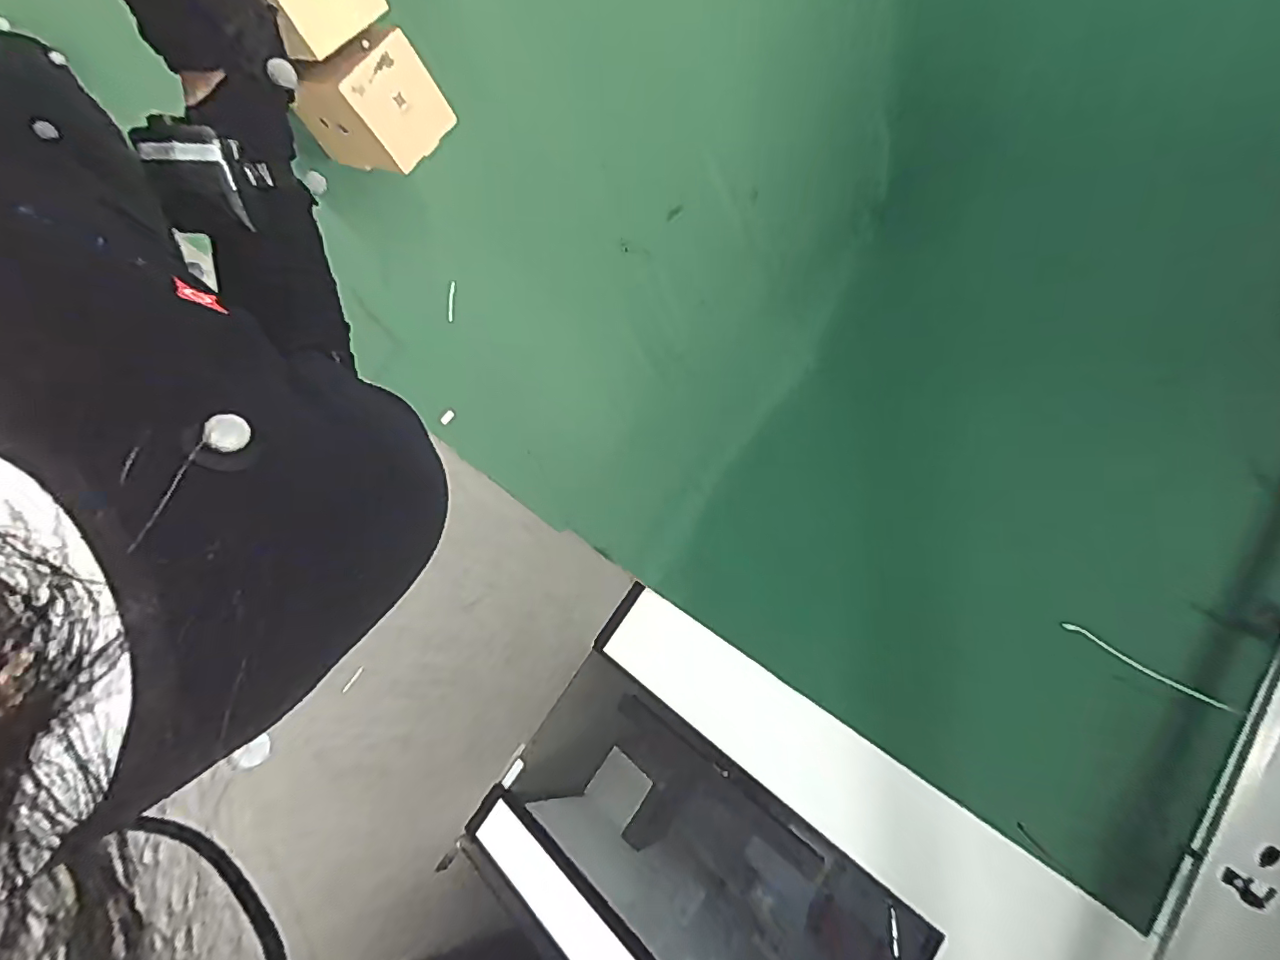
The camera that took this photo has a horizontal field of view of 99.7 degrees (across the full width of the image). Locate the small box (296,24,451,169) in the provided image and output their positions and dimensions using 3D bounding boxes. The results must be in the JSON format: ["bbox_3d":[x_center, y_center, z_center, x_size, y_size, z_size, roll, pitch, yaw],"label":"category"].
[{"bbox_3d":[-0.520,-0.756,1.063,0.168,0.176,0.179,-53,150,-11],"label":"small box"}]

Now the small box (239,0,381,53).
[{"bbox_3d":[-0.582,-0.854,0.897,0.168,0.176,0.179,-50,146,-14],"label":"small box"}]
